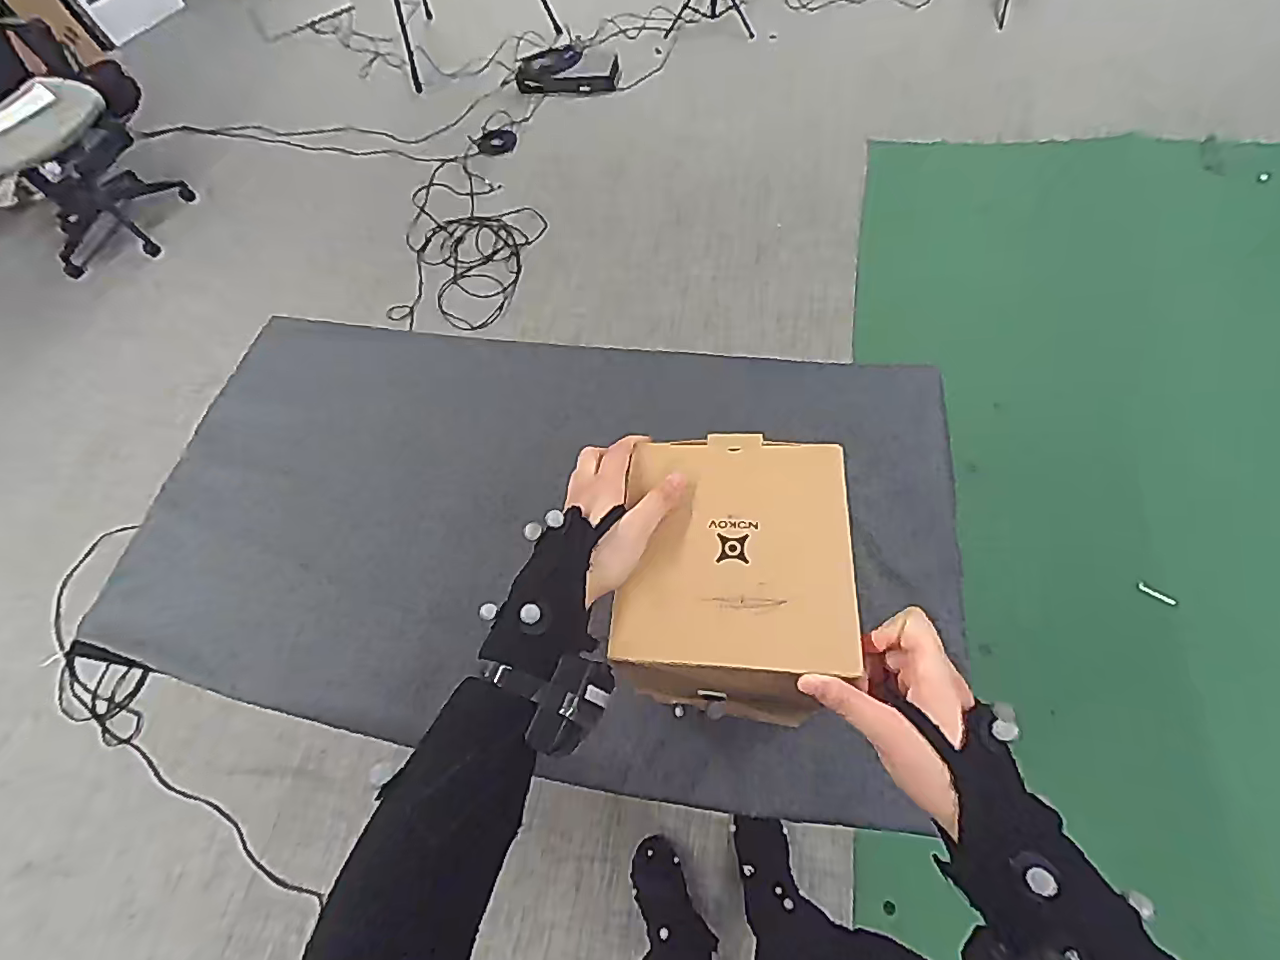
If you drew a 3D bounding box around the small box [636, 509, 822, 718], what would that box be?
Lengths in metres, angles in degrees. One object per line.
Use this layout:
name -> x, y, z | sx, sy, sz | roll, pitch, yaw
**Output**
small box -> 0.101, 0.153, 0.599 | 0.168, 0.176, 0.179 | 6, 61, 11
